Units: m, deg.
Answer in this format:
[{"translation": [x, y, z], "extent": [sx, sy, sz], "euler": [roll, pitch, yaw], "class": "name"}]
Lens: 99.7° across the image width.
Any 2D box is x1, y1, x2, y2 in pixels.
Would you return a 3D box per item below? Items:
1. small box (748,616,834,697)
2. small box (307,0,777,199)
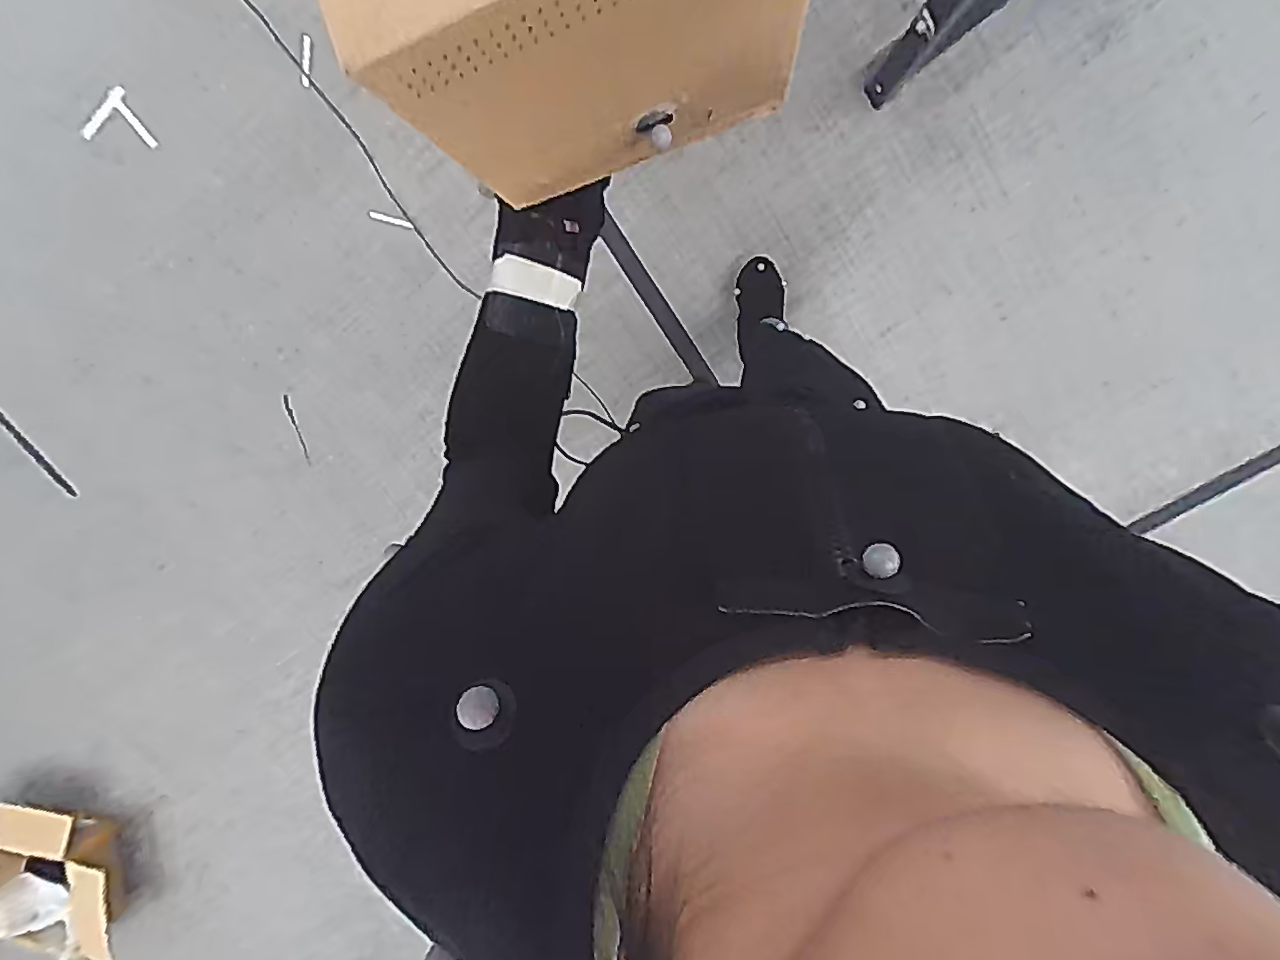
[{"translation": [0.416, 0.518, 1.528], "extent": [0.168, 0.176, 0.179], "euler": [23, 108, 0], "class": "small box"}, {"translation": [-0.039, -0.260, 0.239], "extent": [0.179, 0.176, 0.168], "euler": [-15, 98, 12], "class": "small box"}]
